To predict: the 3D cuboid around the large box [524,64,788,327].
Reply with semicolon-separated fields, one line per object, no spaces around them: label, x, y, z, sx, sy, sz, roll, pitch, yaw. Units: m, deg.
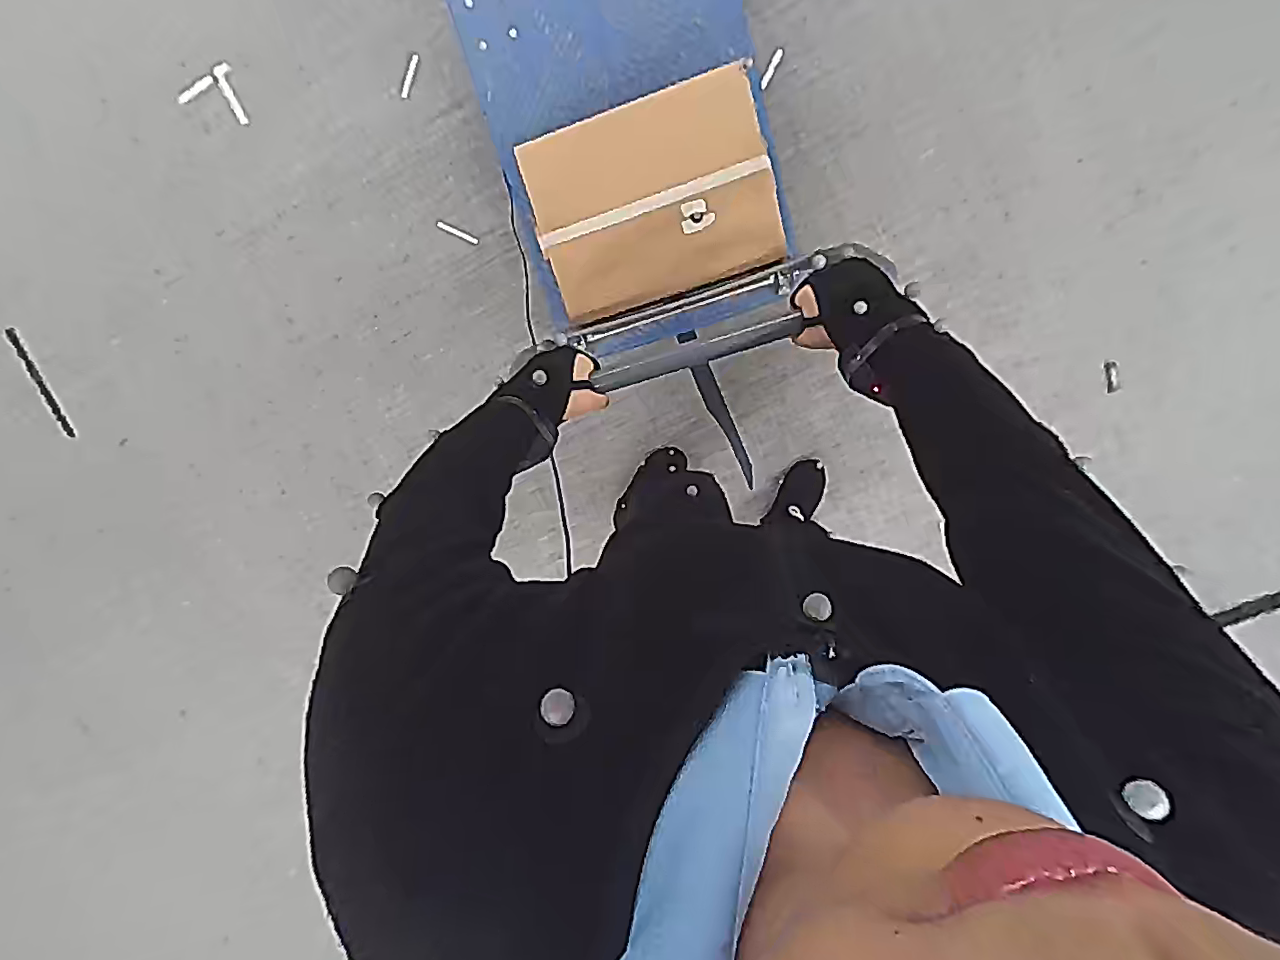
large box;0.037;-0.523;1.089;0.408;0.320;0.320;-17;104;7
